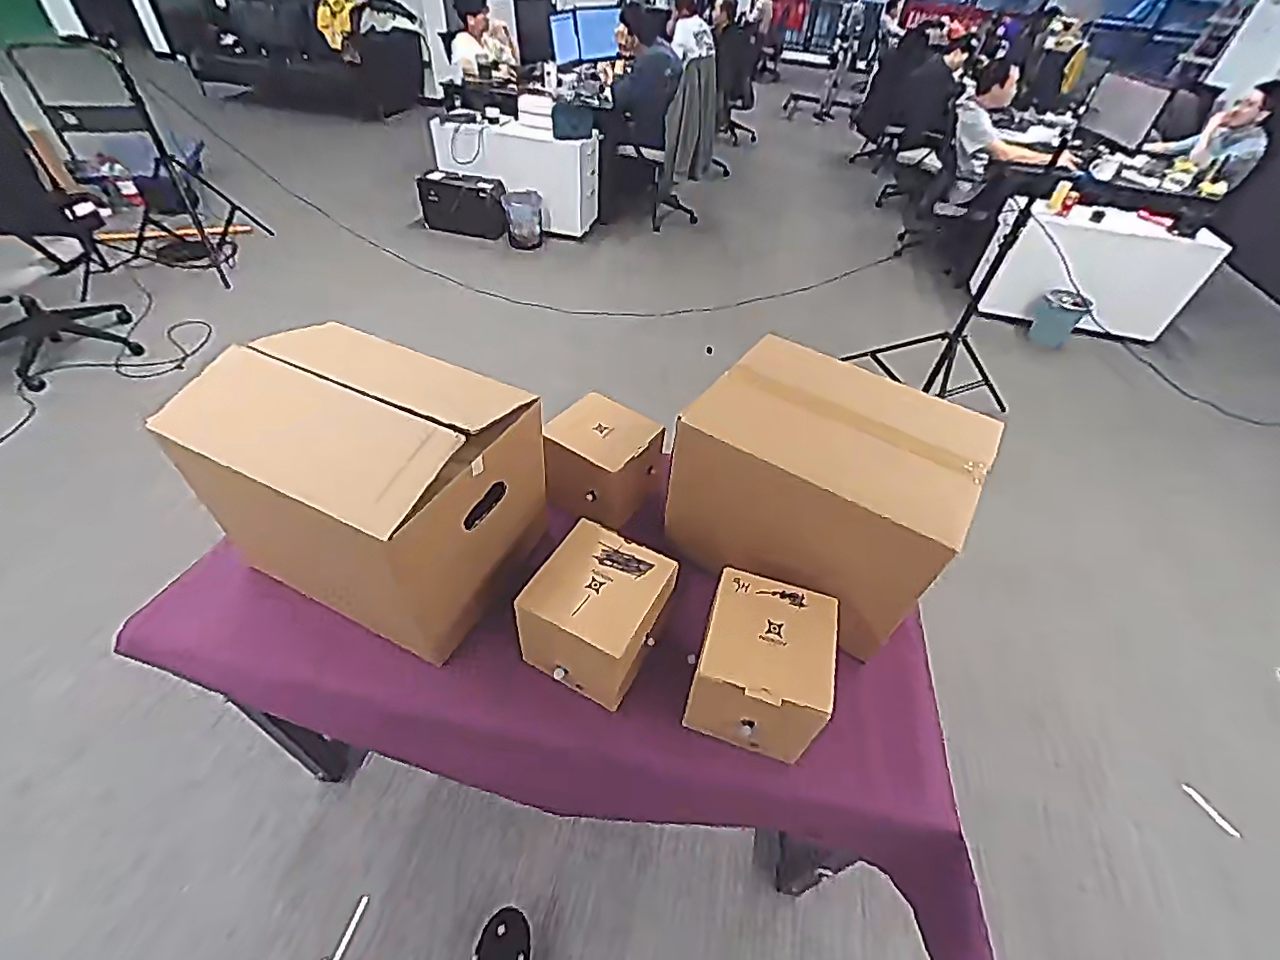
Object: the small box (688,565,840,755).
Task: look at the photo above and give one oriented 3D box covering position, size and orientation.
[{"bbox_3d":[0.170,0.256,0.763,0.168,0.176,0.179,16,46,9],"label":"small box"}]
